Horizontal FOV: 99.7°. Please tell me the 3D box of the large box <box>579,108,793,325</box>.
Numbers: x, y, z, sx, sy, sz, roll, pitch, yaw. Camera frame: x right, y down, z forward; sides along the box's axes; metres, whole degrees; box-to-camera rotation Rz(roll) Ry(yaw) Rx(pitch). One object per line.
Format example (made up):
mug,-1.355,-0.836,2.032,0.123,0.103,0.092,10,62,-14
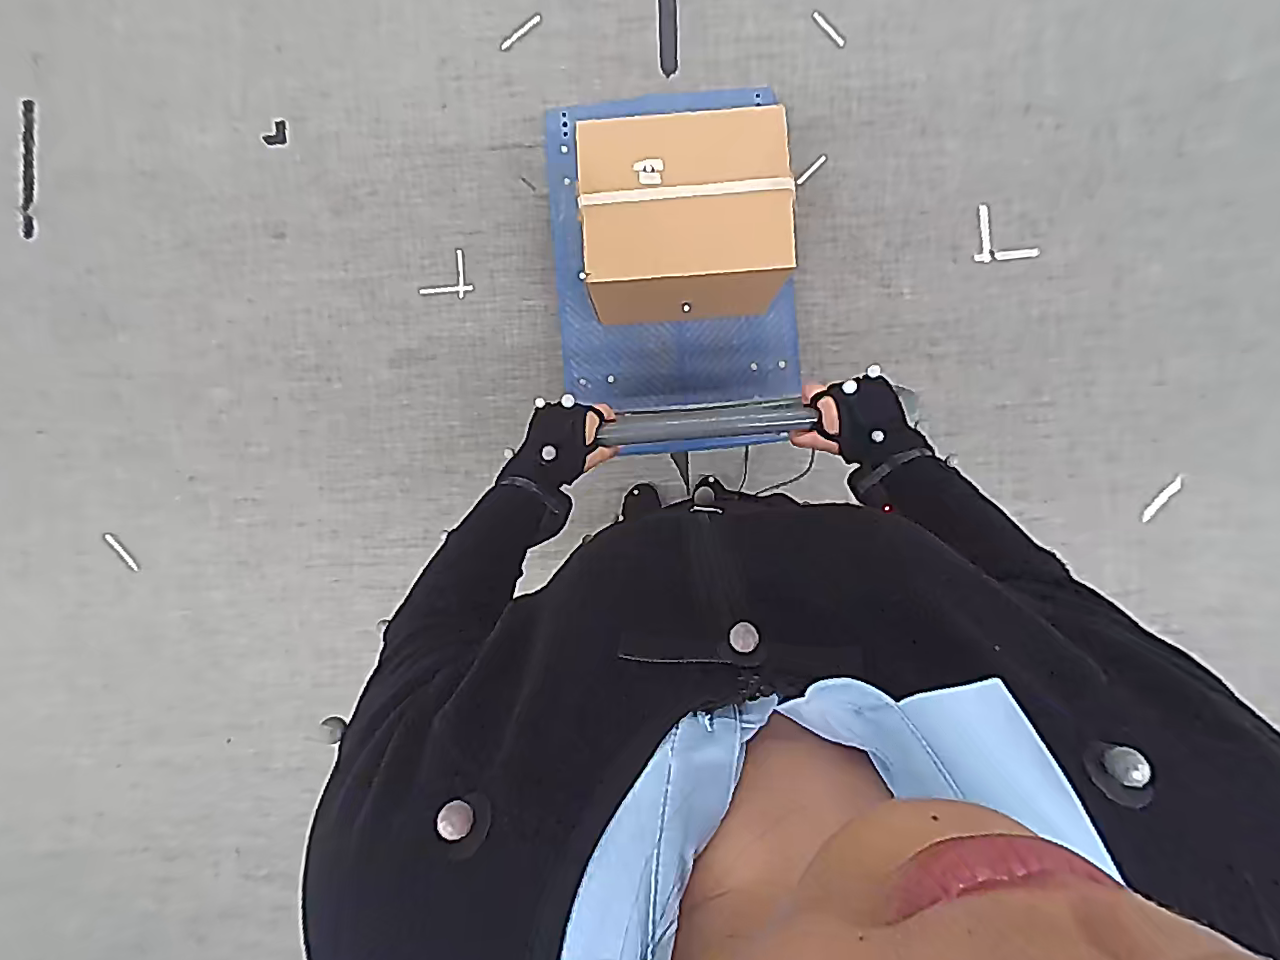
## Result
large box,0.096,-0.553,1.203,0.408,0.320,0.320,-4,89,3
